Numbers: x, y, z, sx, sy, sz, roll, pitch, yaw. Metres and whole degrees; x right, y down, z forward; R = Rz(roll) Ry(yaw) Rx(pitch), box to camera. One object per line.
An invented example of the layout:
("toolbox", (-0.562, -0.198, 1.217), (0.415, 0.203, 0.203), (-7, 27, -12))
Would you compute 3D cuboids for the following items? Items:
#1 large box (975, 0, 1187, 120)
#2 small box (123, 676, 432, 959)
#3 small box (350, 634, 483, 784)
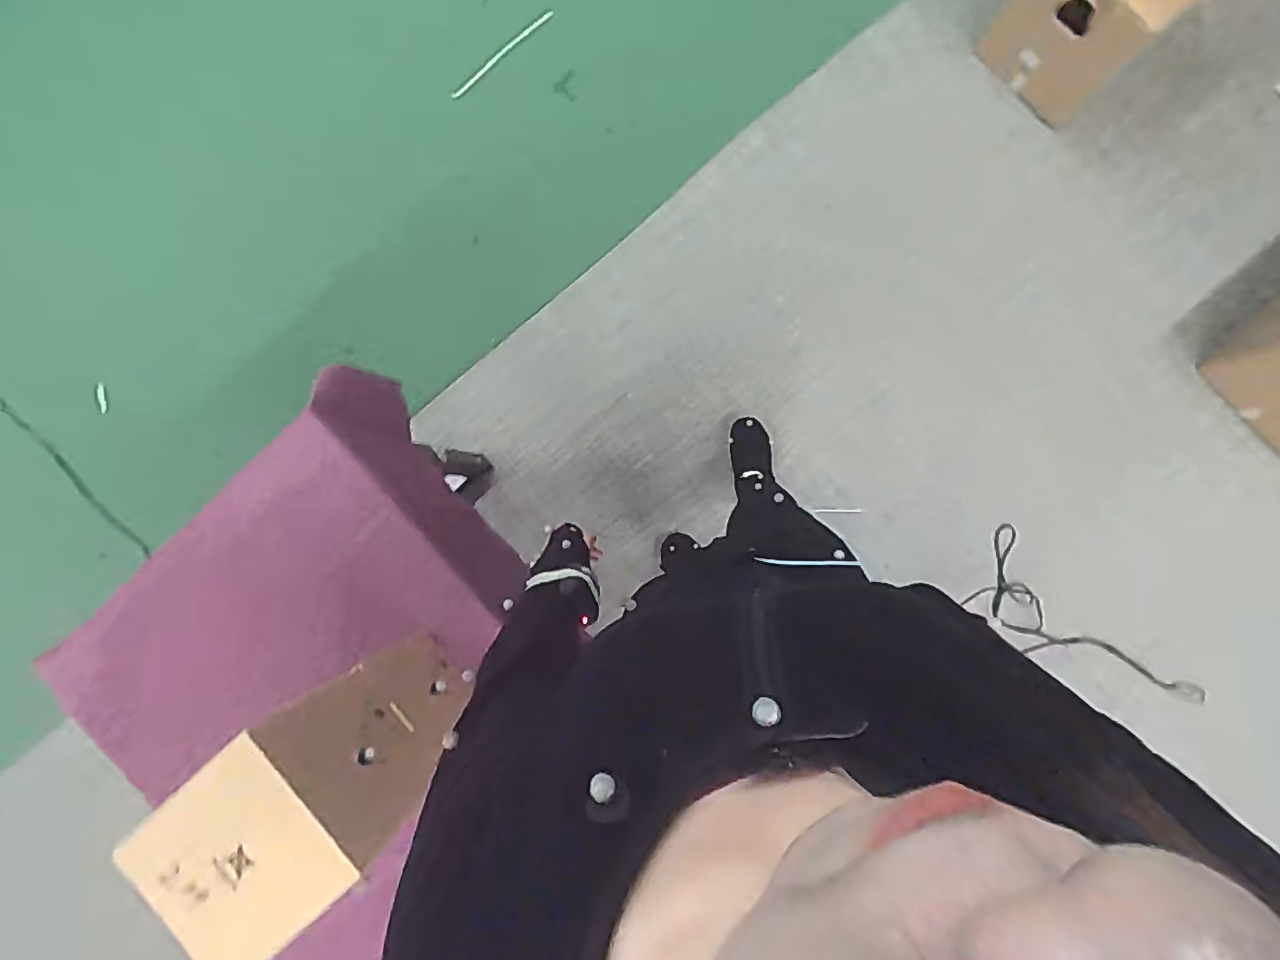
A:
("large box", (1.133, -1.199, 1.299), (0.408, 0.320, 0.320), (-41, 86, 1))
("small box", (-0.346, 0.338, 0.560), (0.179, 0.176, 0.168), (-42, 86, 3))
("small box", (-0.336, 0.336, 0.726), (0.179, 0.176, 0.168), (-42, 87, 2))
